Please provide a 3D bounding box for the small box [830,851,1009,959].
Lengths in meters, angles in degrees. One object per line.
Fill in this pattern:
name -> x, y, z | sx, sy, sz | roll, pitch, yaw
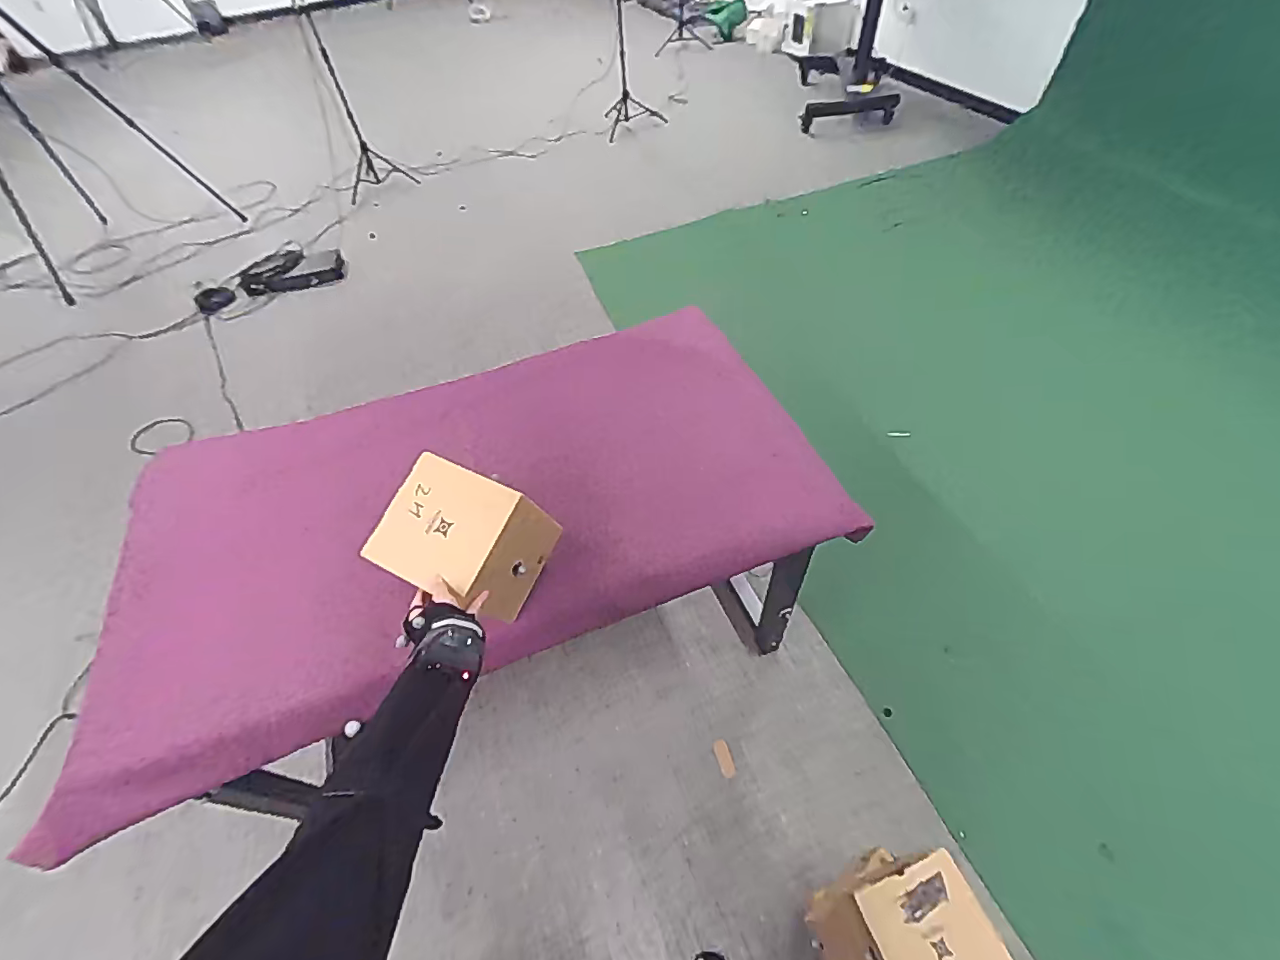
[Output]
small box -> 0.413, 0.693, 0.811 | 0.168, 0.176, 0.179 | -17, 54, -10

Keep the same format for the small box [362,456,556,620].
small box -> -0.249, 0.092, 0.791 | 0.179, 0.176, 0.168 | 21, 73, 19

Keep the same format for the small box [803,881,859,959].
small box -> 0.435, 0.902, 1.065 | 0.179, 0.176, 0.168 | -12, 52, -4
